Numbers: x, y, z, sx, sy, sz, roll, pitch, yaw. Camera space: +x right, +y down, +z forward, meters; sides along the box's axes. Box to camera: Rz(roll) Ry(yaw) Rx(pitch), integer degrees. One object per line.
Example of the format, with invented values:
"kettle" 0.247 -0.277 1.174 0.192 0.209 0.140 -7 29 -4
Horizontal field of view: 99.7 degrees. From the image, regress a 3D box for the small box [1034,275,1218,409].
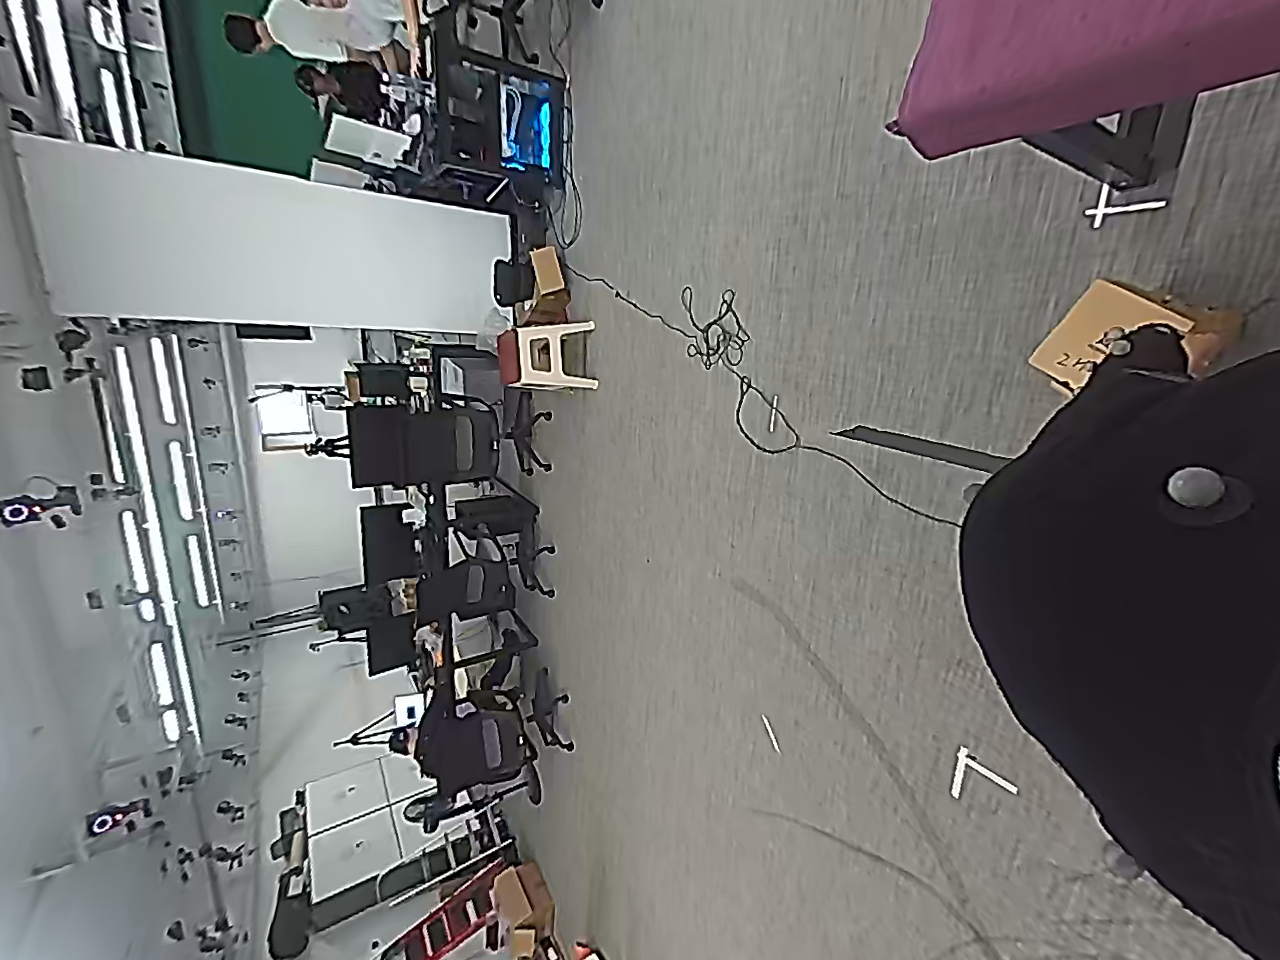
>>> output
"small box" 0.888 -0.251 0.988 0.168 0.176 0.179 56 140 35
